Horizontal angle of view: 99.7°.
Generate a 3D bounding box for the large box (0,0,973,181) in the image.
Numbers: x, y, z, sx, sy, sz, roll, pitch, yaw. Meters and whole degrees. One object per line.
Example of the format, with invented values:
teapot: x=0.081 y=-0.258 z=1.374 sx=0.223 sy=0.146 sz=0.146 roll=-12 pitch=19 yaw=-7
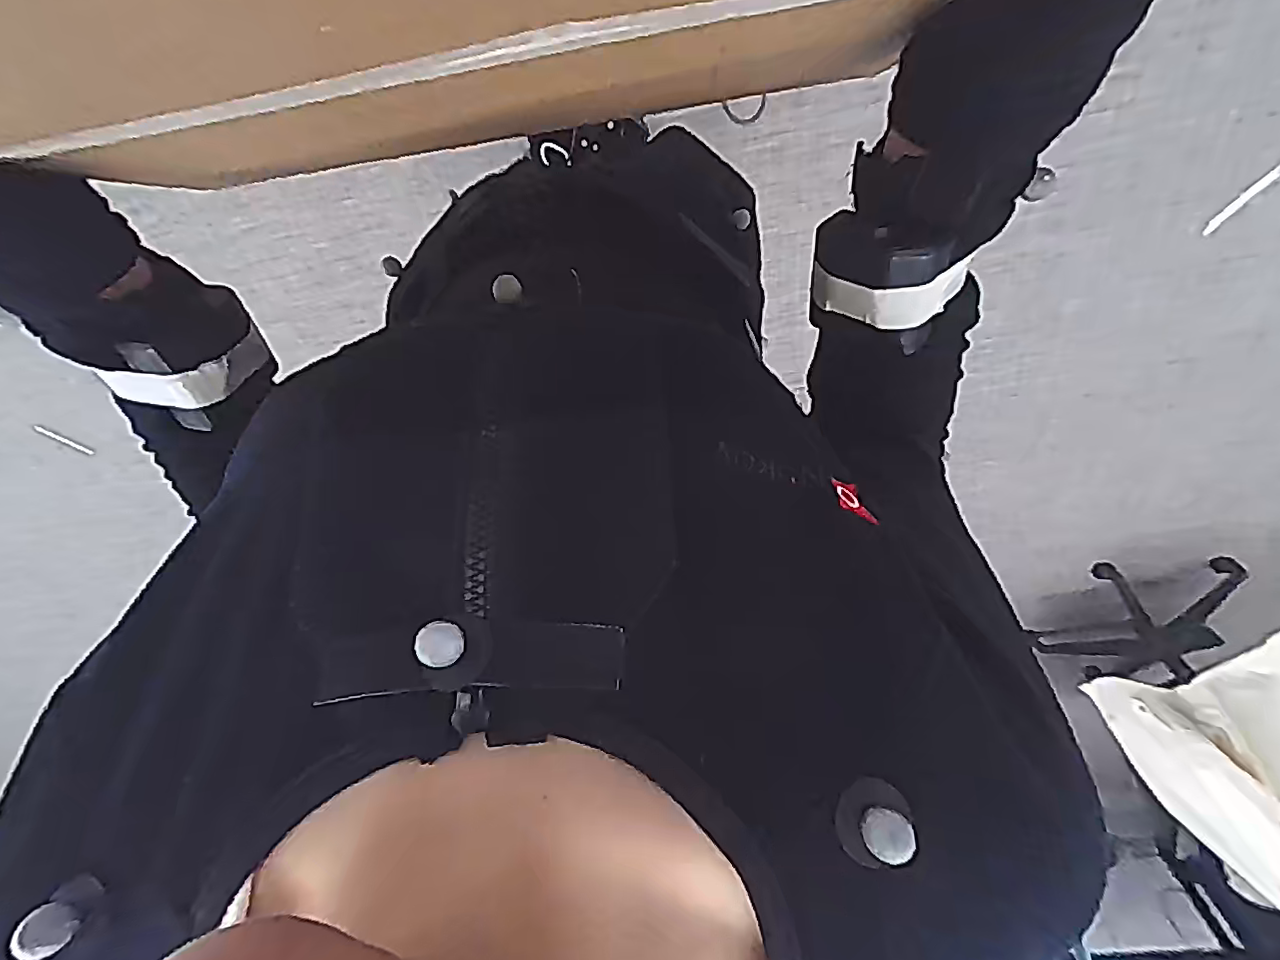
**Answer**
large box: x=-0.088 y=-0.290 z=0.127 sx=0.408 sy=0.320 sz=0.320 roll=-7 pitch=114 yaw=4
